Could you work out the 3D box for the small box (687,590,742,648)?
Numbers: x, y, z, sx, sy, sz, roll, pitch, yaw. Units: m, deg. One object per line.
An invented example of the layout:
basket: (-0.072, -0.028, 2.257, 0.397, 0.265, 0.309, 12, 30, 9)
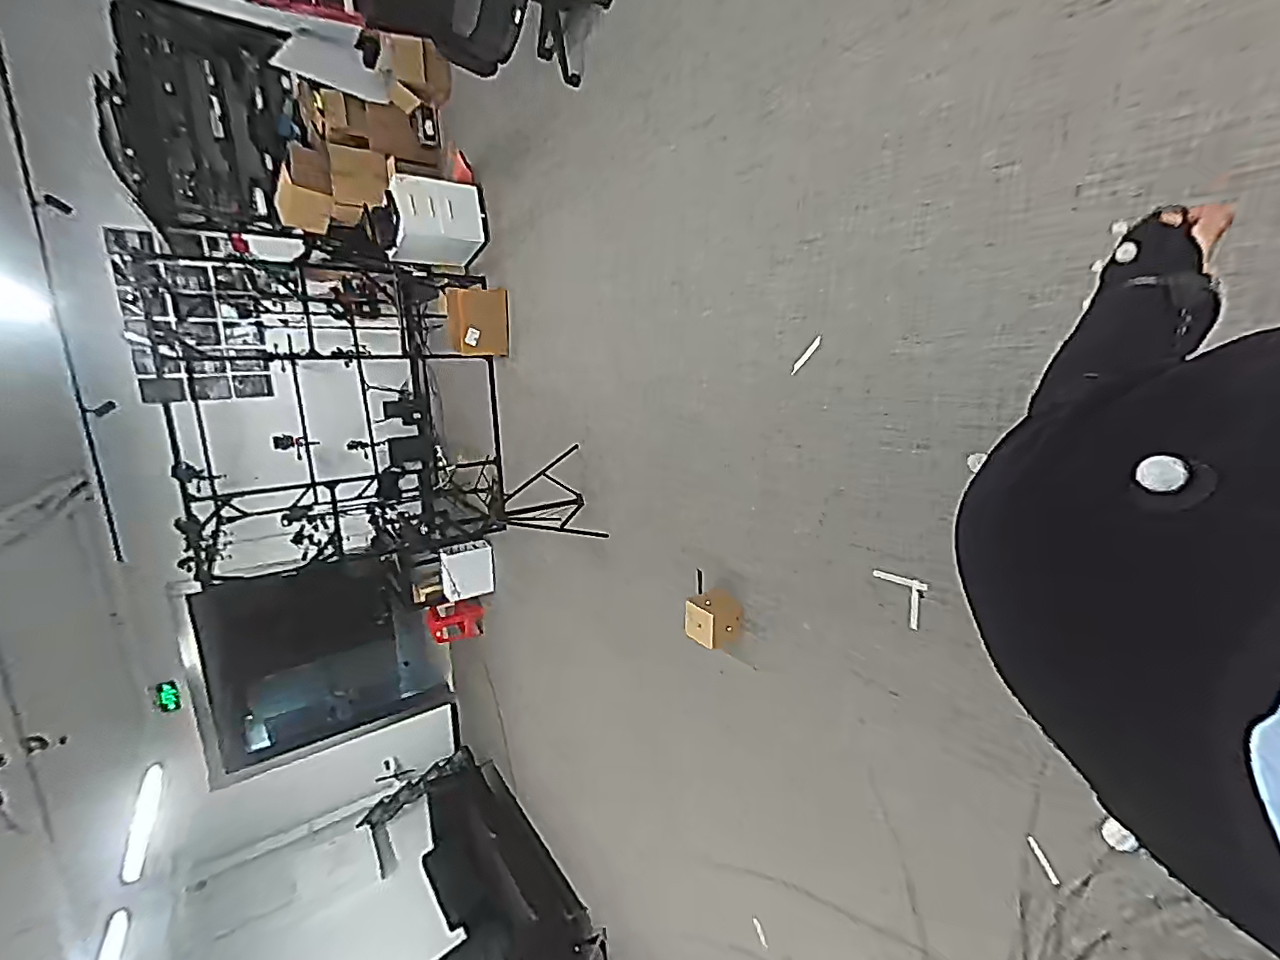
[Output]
small box: (0.321, 0.588, 2.318, 0.179, 0.176, 0.168, 20, 114, 53)
